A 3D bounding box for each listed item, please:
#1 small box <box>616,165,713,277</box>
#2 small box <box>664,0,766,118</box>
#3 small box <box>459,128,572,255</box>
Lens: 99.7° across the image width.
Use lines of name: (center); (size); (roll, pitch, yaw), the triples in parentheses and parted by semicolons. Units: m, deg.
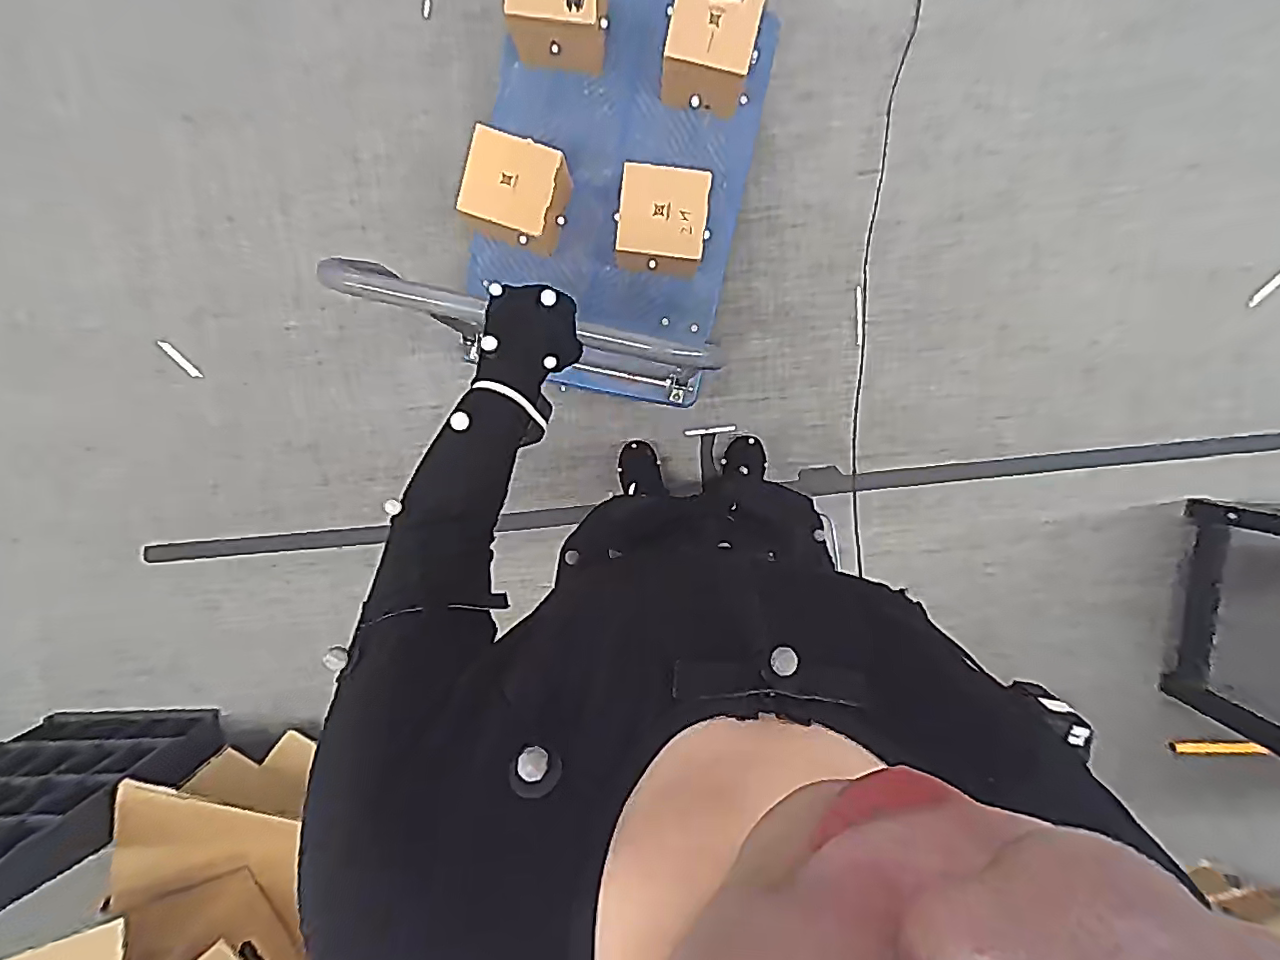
small box: (0.049, -0.538, 1.144); (0.179, 0.176, 0.168); (7, 99, 0)
small box: (0.145, -0.880, 1.091); (0.168, 0.176, 0.179); (13, 100, -1)
small box: (-0.253, -0.594, 1.138); (0.179, 0.176, 0.168); (16, 98, -3)
